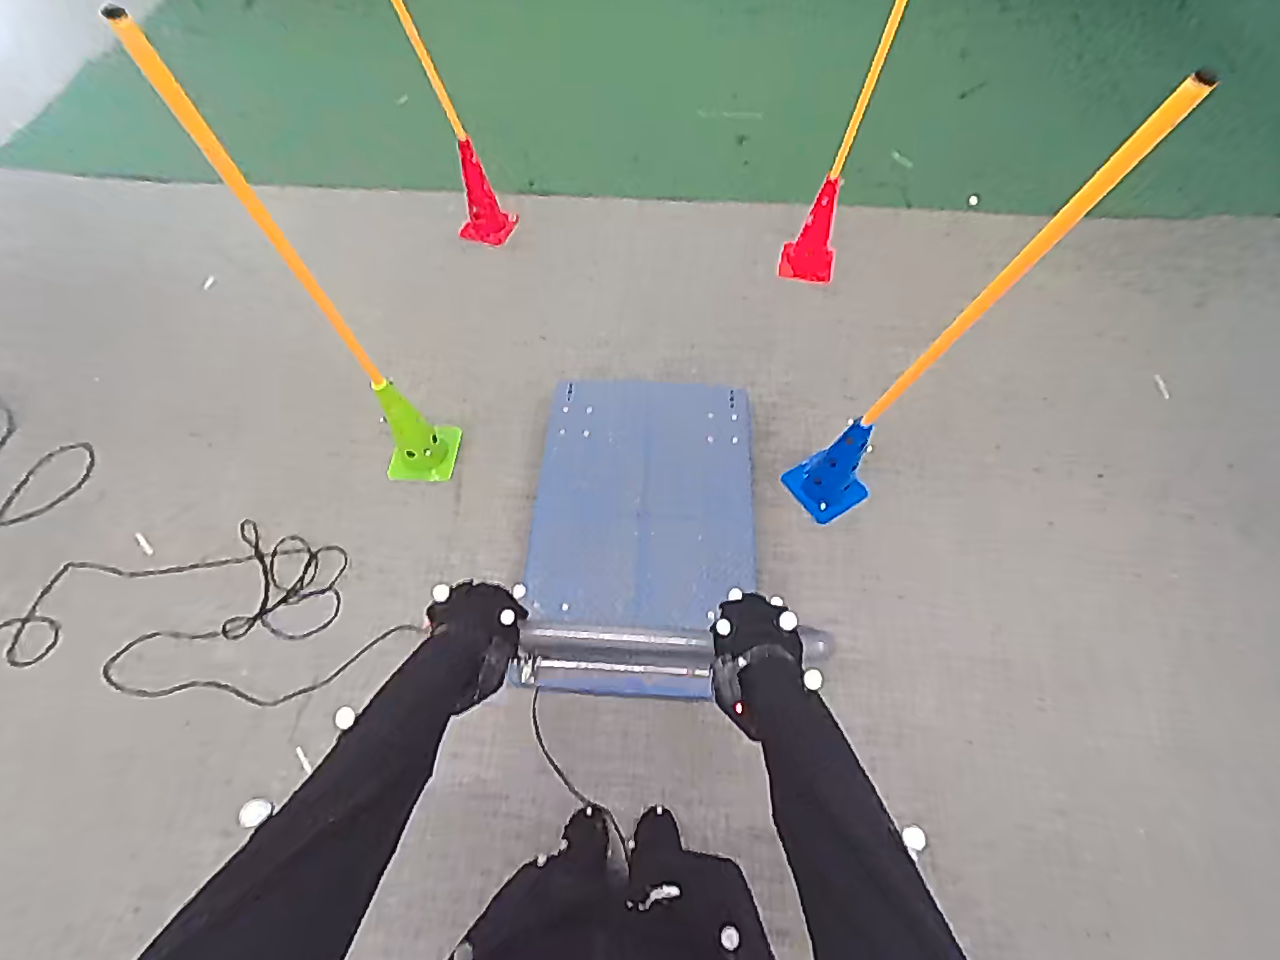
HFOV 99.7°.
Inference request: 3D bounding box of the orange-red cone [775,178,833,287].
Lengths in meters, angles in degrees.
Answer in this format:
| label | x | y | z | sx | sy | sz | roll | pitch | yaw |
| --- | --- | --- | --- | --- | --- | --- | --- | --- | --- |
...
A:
| label | x | y | z | sx | sy | sz | roll | pitch | yaw |
| --- | --- | --- | --- | --- | --- | --- | --- | --- | --- |
| orange-red cone | 0.635 | -0.915 | 1.965 | 0.198 | 0.360 | 0.199 | 13 | 63 | 8 |
